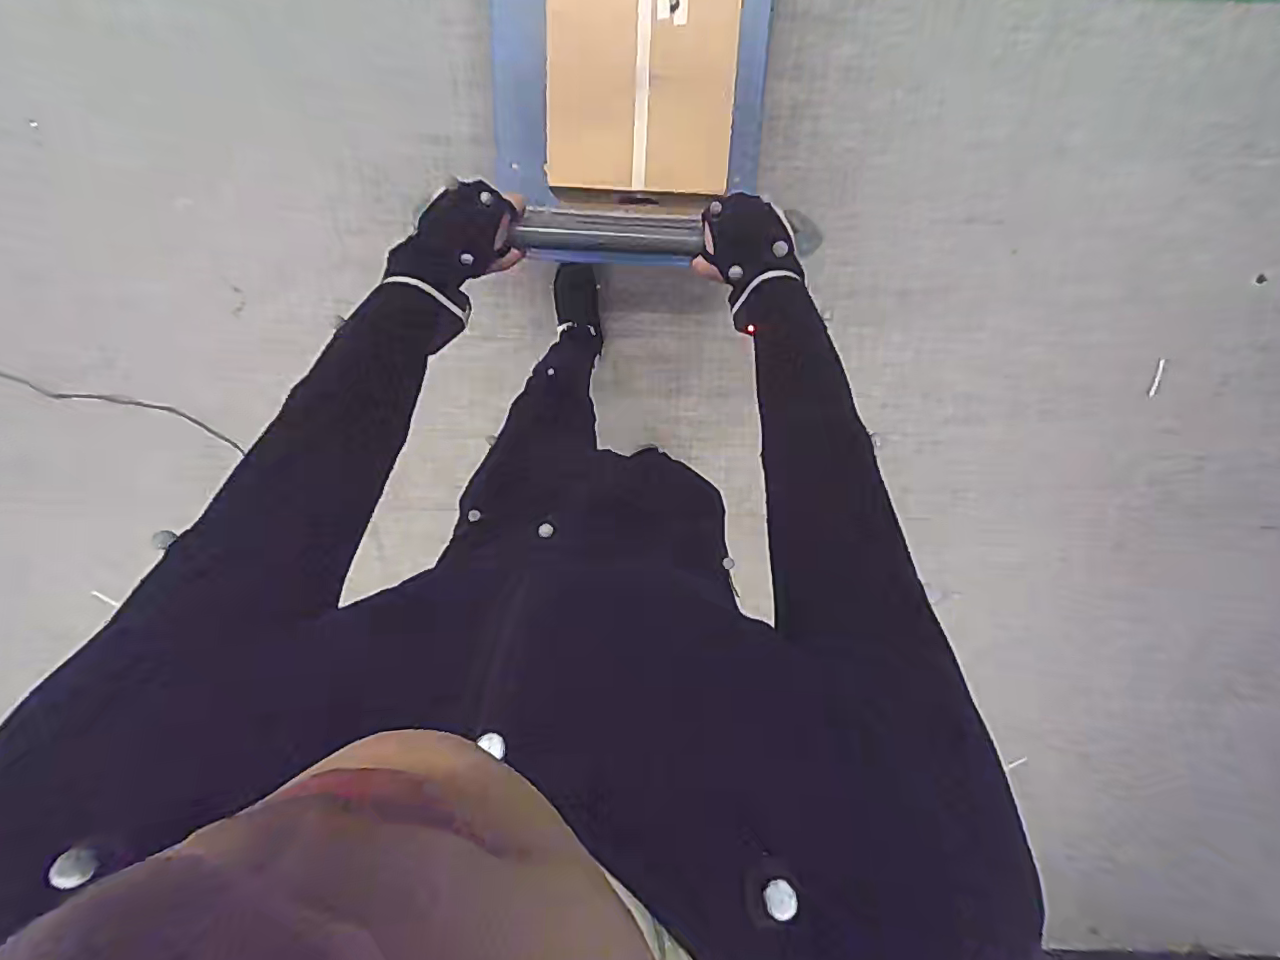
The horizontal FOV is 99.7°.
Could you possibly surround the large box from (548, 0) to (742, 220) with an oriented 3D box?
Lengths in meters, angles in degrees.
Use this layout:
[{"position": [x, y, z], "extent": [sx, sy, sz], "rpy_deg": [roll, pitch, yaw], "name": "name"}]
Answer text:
[{"position": [0.004, -0.736, 1.025], "extent": [0.320, 0.320, 0.408], "rpy_deg": [2, 107, -2], "name": "large box"}]
